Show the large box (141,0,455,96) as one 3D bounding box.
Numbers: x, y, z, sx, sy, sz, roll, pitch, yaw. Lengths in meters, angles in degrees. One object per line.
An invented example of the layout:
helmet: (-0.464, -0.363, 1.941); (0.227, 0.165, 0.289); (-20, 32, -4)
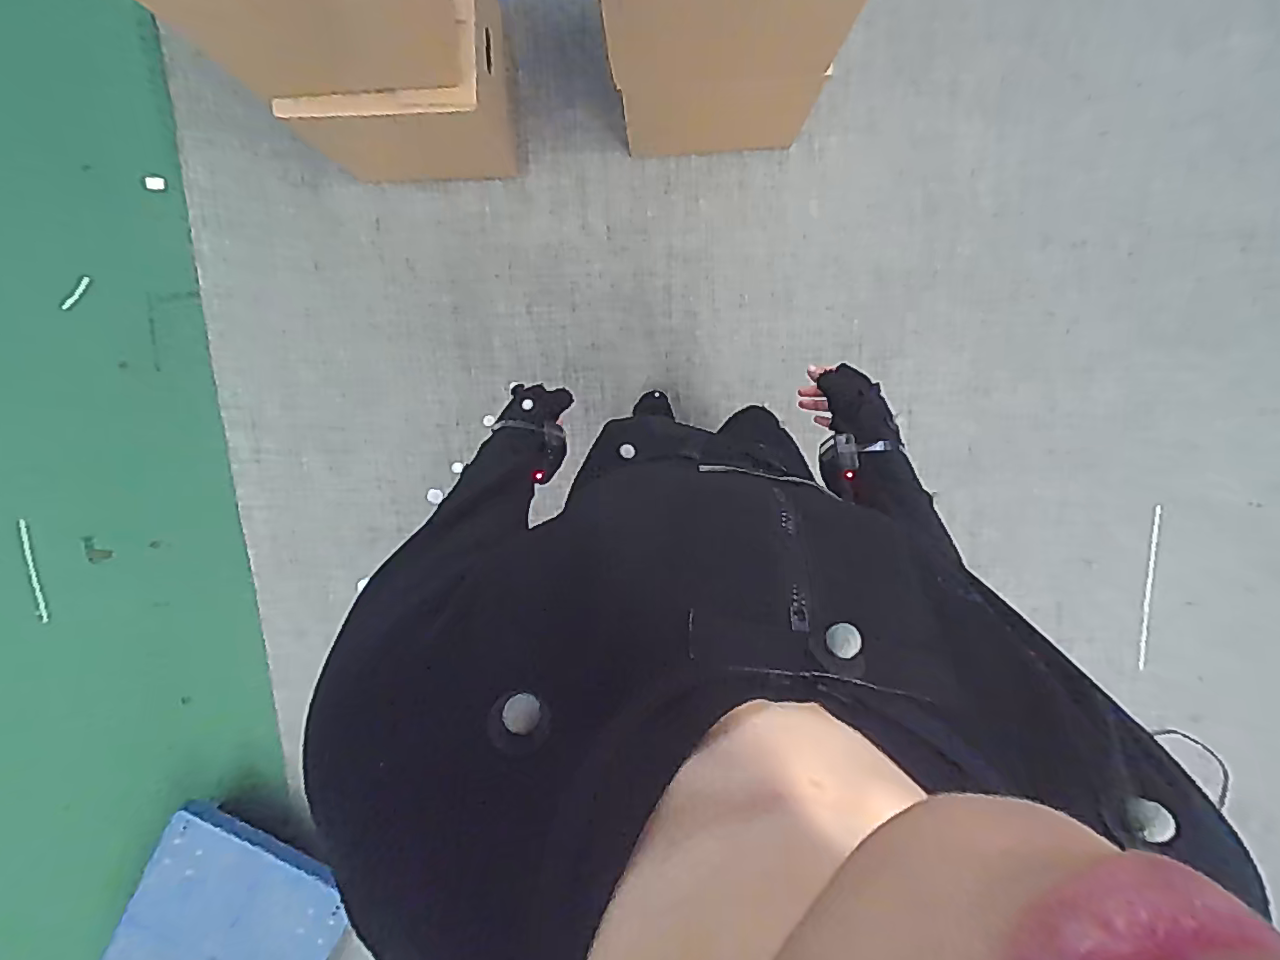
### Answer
large box: (-0.554, -0.877, 0.868); (0.408, 0.320, 0.320); (-2, 96, 1)
